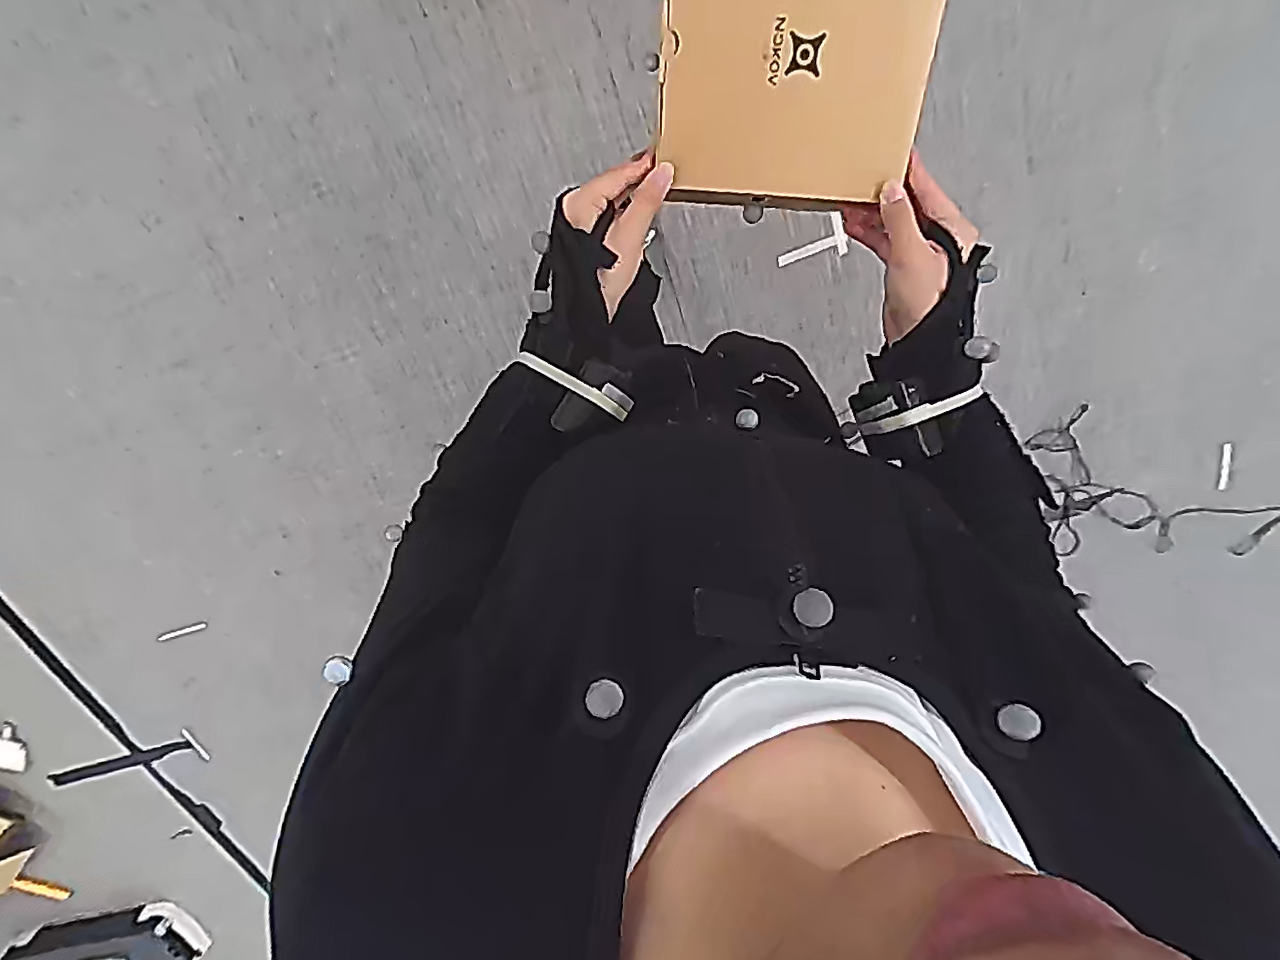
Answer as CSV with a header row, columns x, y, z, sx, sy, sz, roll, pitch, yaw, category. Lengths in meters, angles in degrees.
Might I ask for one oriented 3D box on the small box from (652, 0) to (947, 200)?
x,y,z,sx,sy,sz,roll,pitch,yaw,category
0.103,-0.315,0.416,0.179,0.176,0.168,3,115,-1,small box
